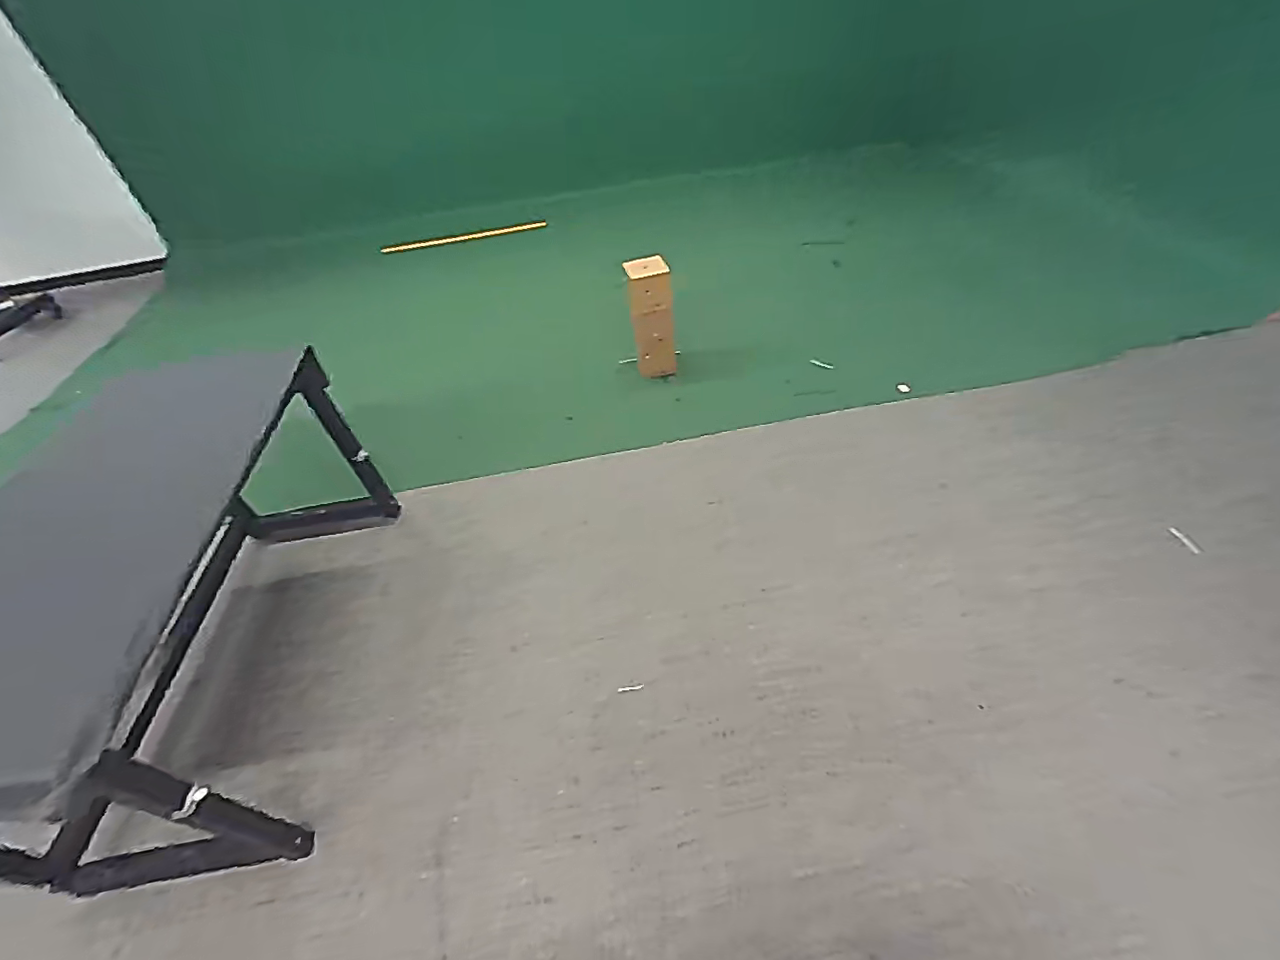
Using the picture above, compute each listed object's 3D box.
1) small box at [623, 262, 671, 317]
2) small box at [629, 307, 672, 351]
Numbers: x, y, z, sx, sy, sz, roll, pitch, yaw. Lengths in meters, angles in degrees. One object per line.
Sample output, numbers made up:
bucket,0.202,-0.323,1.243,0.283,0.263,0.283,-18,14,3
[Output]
small box,0.033,-0.828,2.368,0.168,0.176,0.179,-14,44,-5
small box,0.049,-0.716,2.484,0.168,0.176,0.179,-13,44,-3
